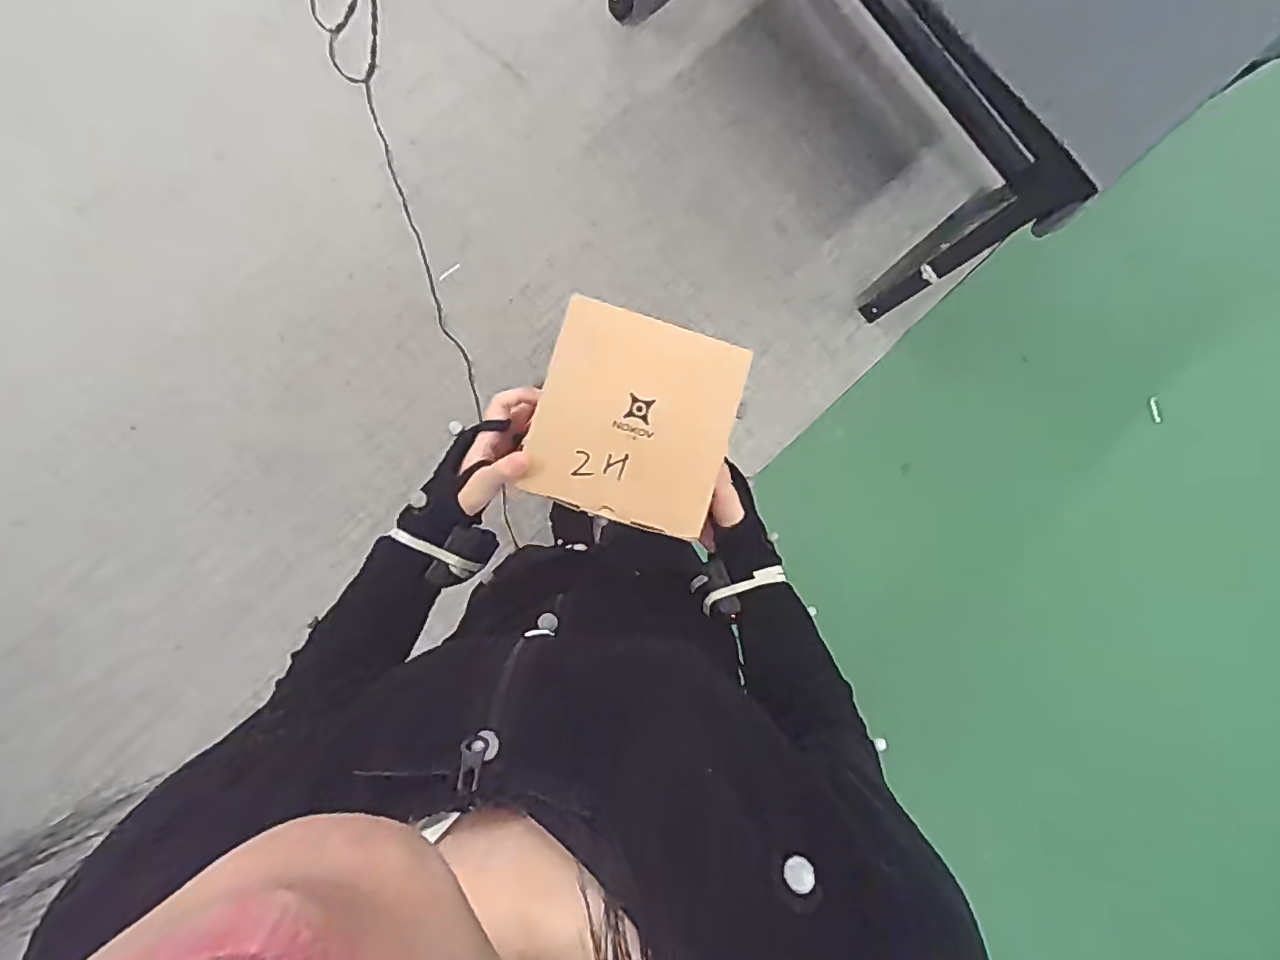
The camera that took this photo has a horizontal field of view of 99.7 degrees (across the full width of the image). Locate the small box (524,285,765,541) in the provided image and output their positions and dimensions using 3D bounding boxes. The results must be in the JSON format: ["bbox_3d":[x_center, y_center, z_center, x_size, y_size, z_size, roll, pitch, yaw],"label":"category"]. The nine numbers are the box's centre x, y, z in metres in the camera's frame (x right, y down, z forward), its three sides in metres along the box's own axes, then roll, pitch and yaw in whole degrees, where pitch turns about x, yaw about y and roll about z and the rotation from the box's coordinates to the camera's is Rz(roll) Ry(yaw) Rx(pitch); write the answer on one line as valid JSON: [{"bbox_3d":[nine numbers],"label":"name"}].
[{"bbox_3d":[-0.003,-0.053,0.528,0.168,0.176,0.179,18,87,-5],"label":"small box"}]
